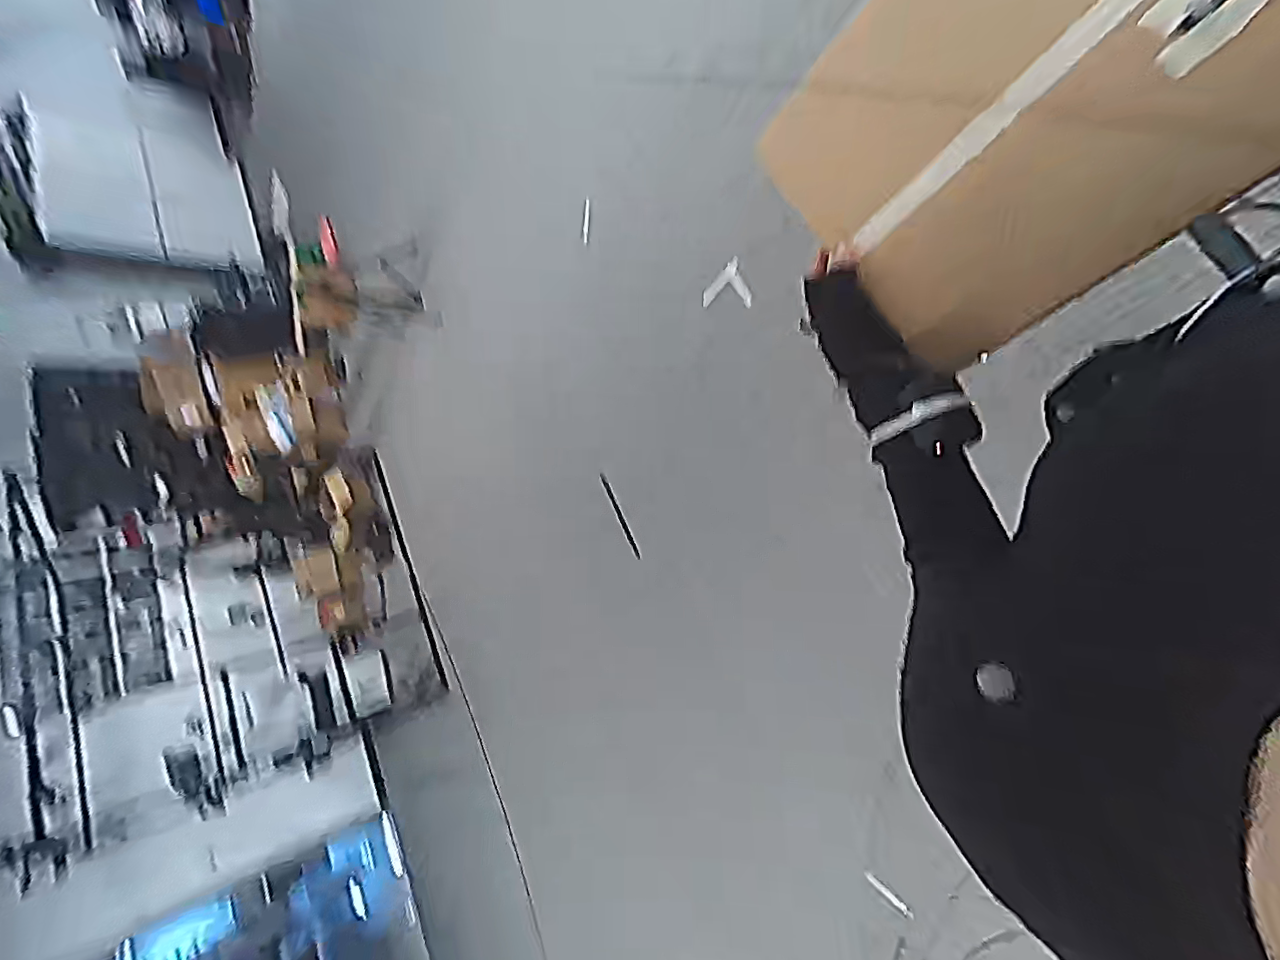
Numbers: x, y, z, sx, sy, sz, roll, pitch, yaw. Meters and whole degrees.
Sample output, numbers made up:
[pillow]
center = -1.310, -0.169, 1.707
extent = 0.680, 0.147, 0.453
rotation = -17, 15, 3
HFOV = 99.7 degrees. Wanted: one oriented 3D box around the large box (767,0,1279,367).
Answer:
[large box]
center = 0.415, -0.372, 0.527
extent = 0.408, 0.320, 0.320
rotation = -40, 81, 44
